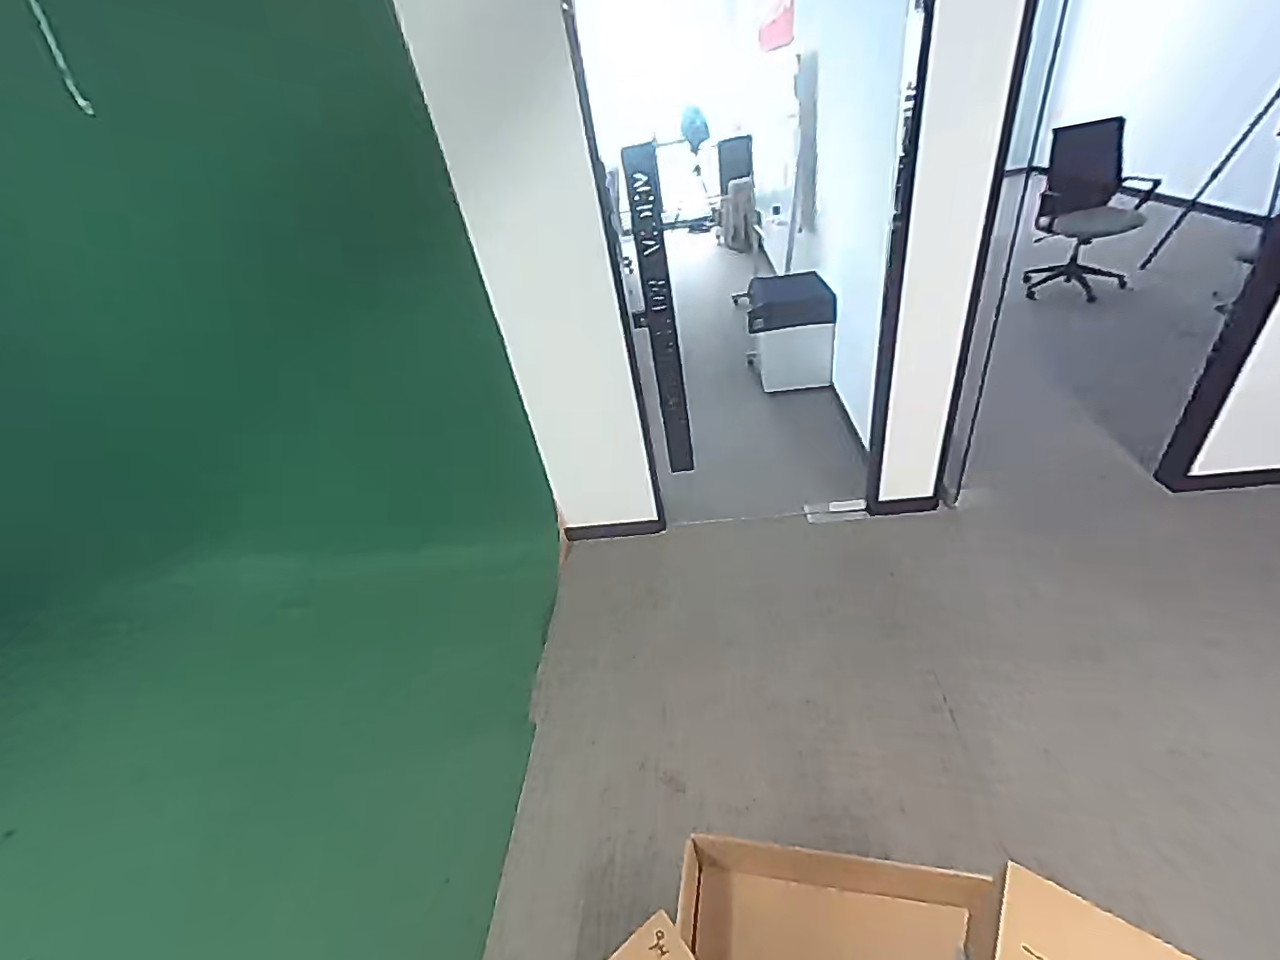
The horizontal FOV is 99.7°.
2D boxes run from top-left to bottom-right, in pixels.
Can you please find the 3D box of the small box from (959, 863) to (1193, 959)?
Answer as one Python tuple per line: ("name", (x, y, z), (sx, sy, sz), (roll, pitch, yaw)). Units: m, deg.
("small box", (0.442, 0.554, 0.555), (0.179, 0.176, 0.168), (19, 42, 30))
